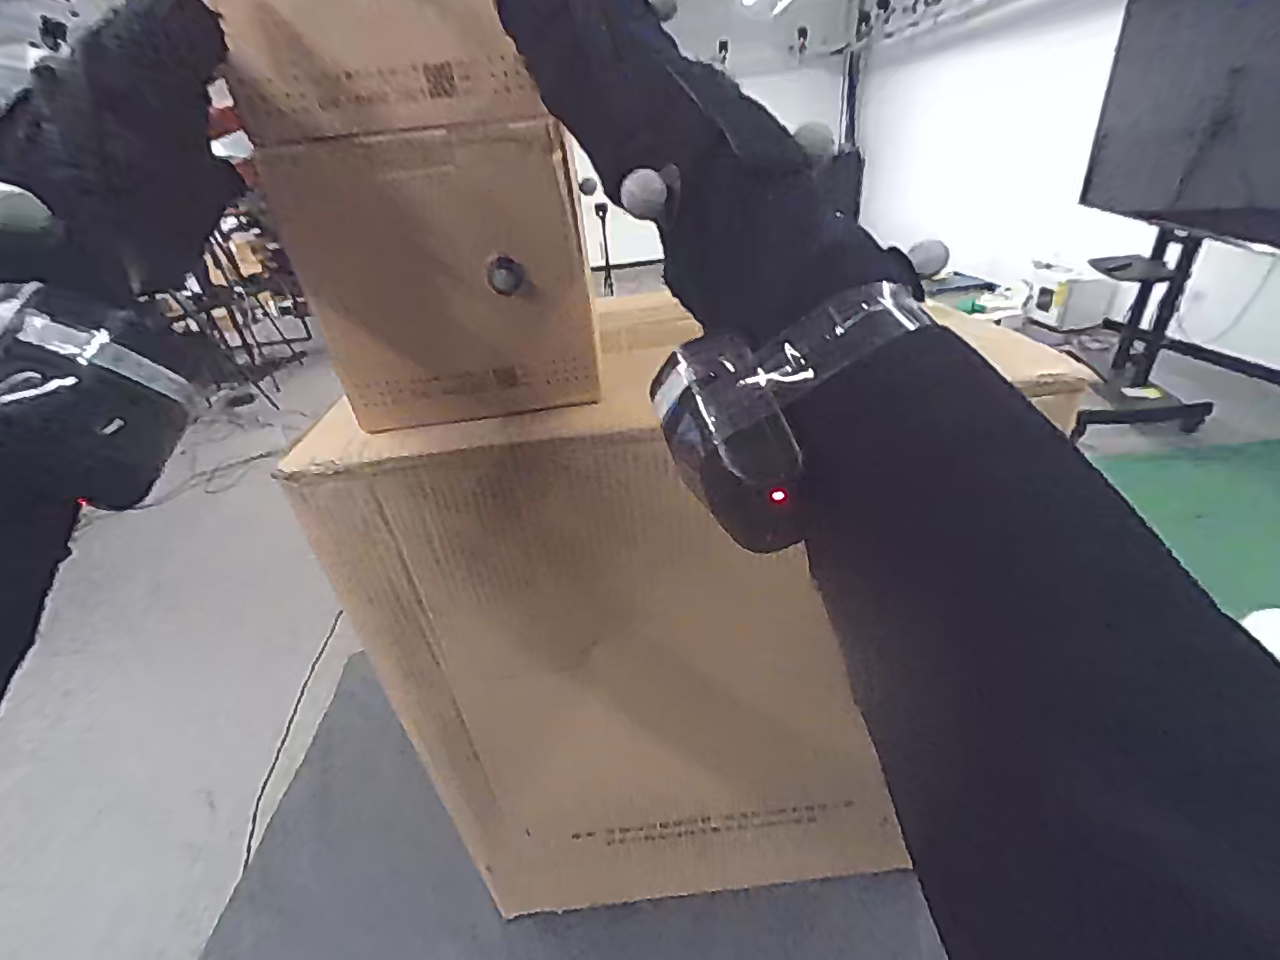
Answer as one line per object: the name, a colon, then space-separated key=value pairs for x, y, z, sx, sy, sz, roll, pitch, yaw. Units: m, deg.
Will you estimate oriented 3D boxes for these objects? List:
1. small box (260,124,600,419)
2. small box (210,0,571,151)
small box: x=-0.121 y=-0.151 z=0.398 sx=0.168 sy=0.176 sz=0.179 roll=-6 pitch=31 yaw=-3
small box: x=-0.132 y=-0.290 z=0.314 sx=0.168 sy=0.176 sz=0.179 roll=-6 pitch=33 yaw=-3
